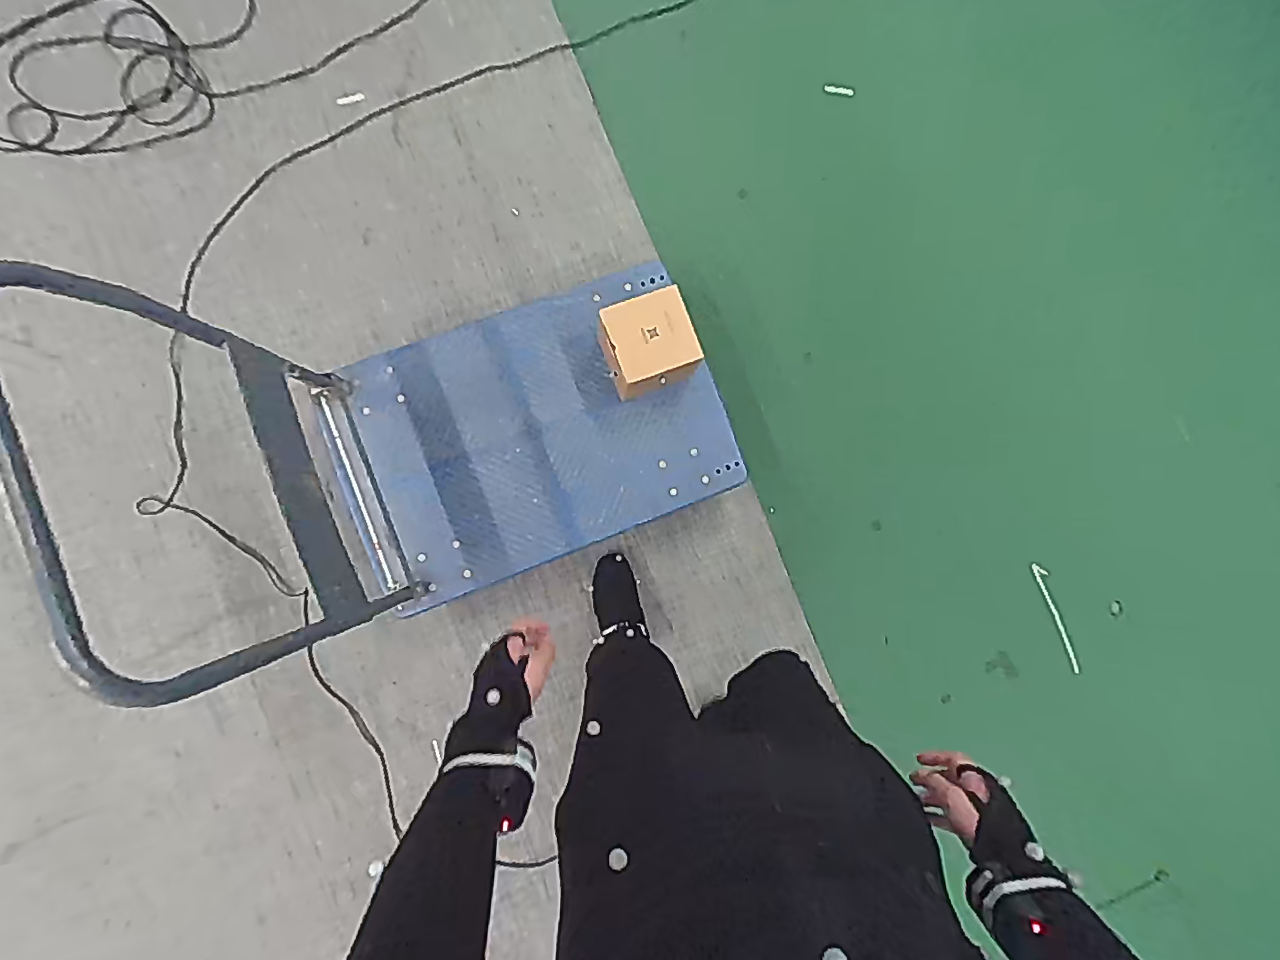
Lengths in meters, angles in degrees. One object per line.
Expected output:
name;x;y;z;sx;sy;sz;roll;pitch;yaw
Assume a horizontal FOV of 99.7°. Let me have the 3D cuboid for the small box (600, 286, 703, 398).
small box;0.020;-0.293;1.188;0.179;0.176;0.168;-20;88;-6
